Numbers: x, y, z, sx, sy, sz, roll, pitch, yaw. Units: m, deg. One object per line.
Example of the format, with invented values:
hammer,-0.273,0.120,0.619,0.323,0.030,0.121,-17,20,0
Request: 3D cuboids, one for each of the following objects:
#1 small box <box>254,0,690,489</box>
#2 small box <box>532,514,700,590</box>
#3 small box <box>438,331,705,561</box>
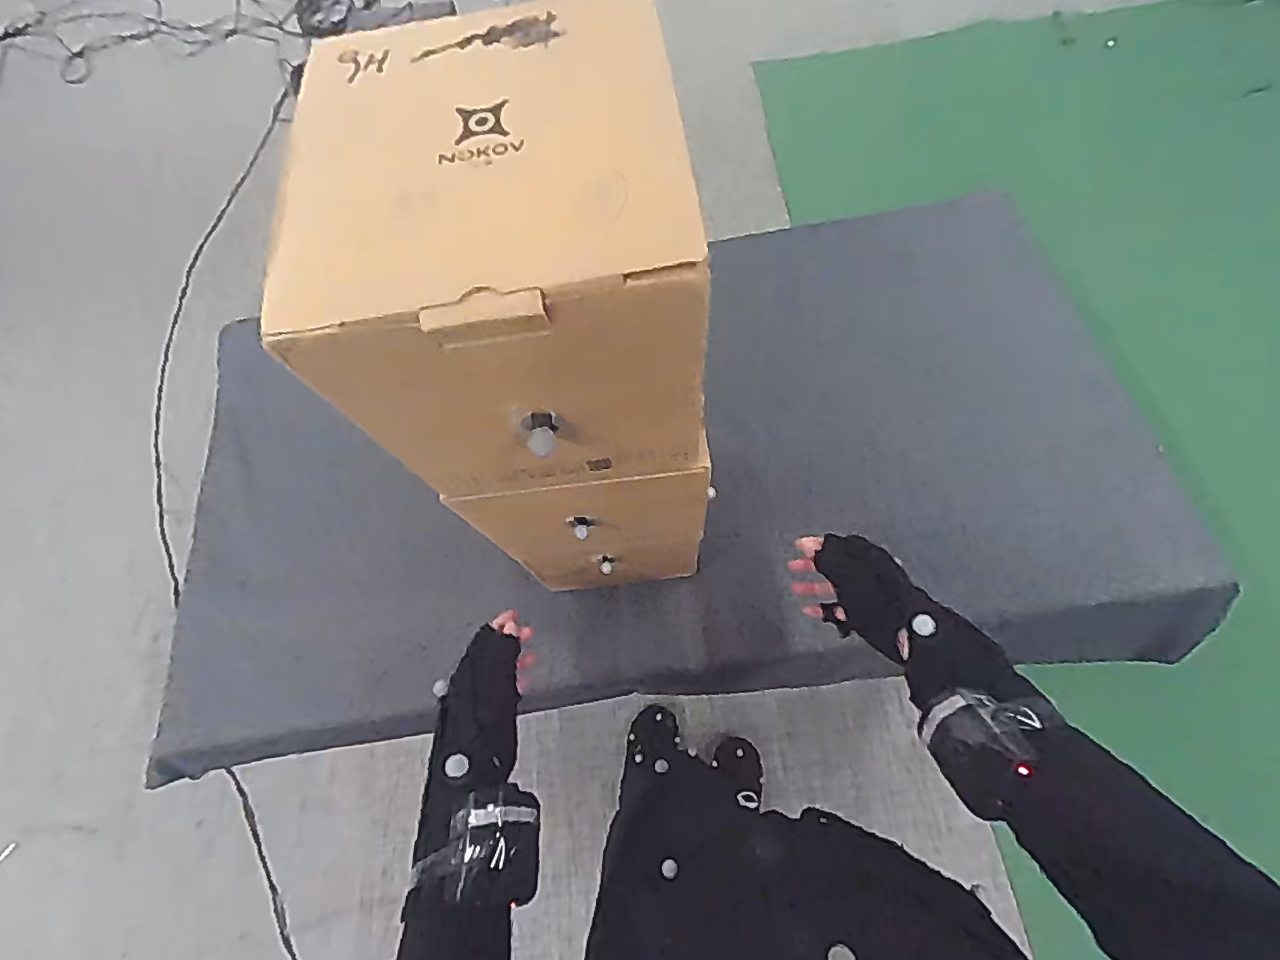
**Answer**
small box,-0.065,-0.104,0.300,0.168,0.176,0.179,-9,68,2
small box,-0.032,0.019,0.603,0.179,0.176,0.168,-8,68,1
small box,-0.045,-0.038,0.448,0.179,0.176,0.168,-8,68,3
